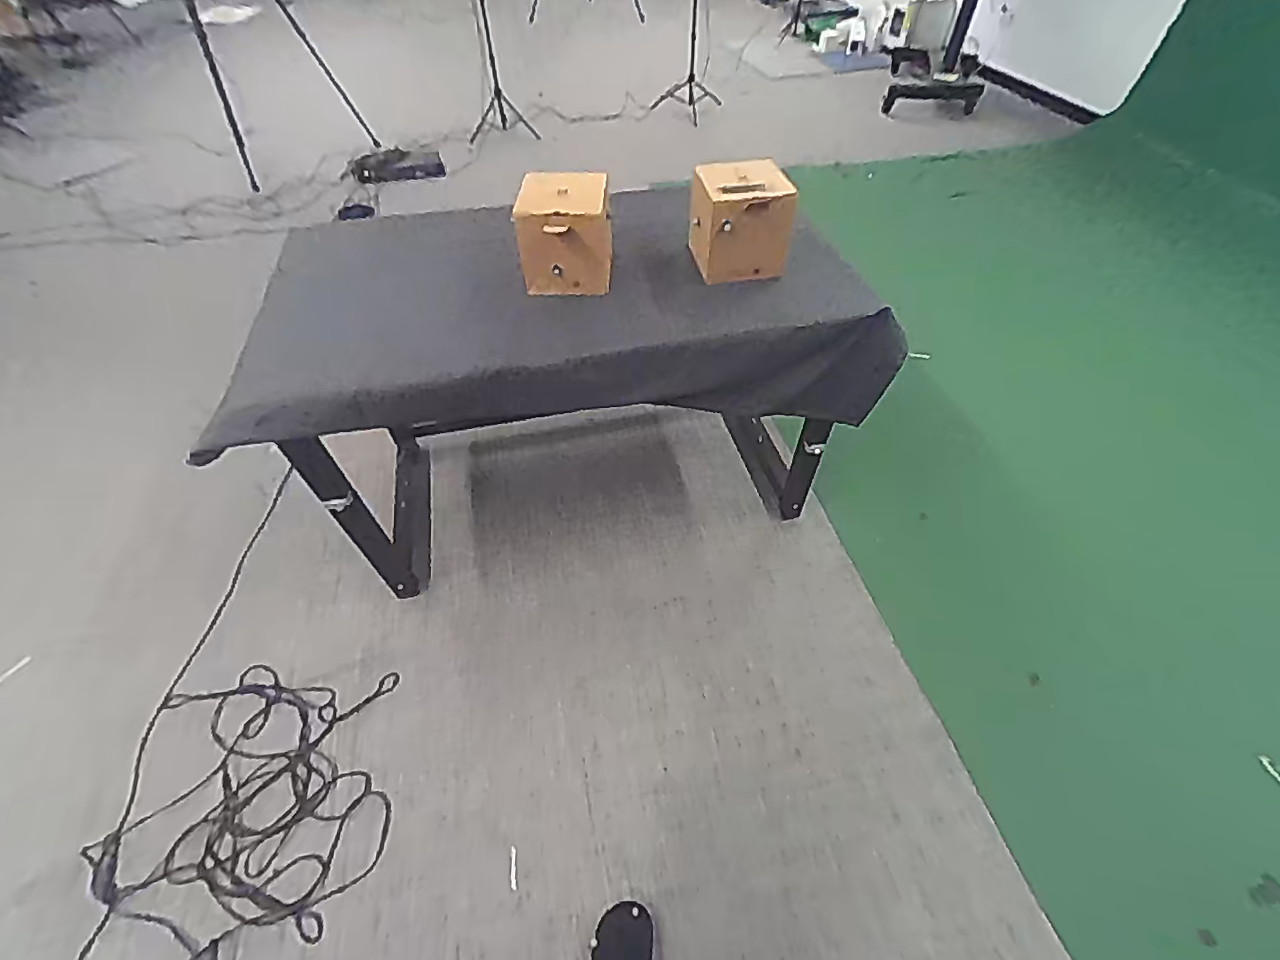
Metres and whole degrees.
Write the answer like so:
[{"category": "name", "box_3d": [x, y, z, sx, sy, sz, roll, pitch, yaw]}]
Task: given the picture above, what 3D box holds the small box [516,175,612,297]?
[{"category": "small box", "box_3d": [-0.144, -0.494, 1.095, 0.168, 0.176, 0.179, 1, 51, 1]}]
